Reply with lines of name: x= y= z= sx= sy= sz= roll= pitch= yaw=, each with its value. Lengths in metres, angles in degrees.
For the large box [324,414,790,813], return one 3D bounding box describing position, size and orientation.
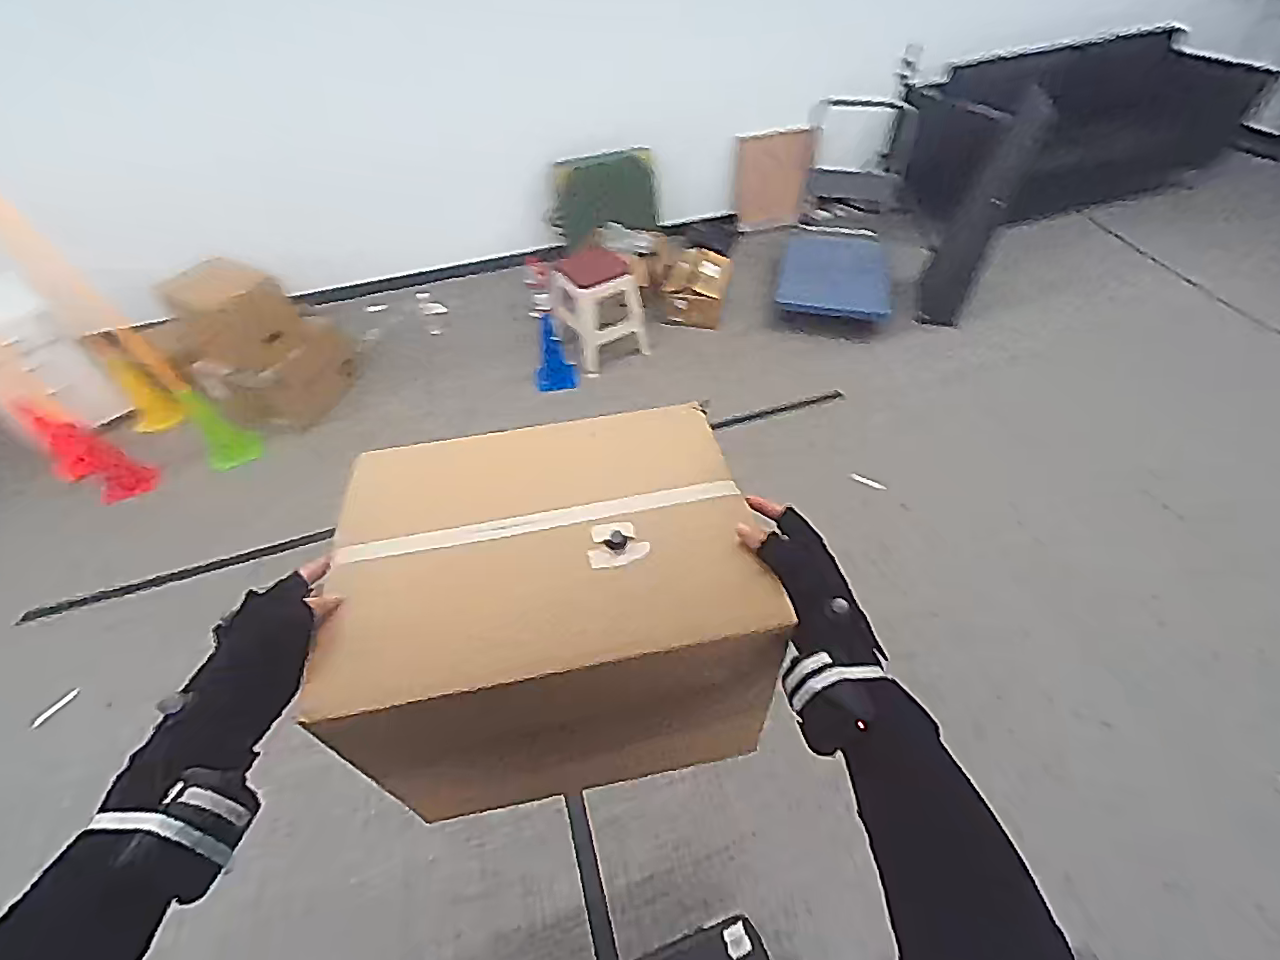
large box: x=-0.084 y=0.156 z=0.659 sx=0.408 sy=0.320 sz=0.320 roll=-8 pitch=46 yaw=-6
